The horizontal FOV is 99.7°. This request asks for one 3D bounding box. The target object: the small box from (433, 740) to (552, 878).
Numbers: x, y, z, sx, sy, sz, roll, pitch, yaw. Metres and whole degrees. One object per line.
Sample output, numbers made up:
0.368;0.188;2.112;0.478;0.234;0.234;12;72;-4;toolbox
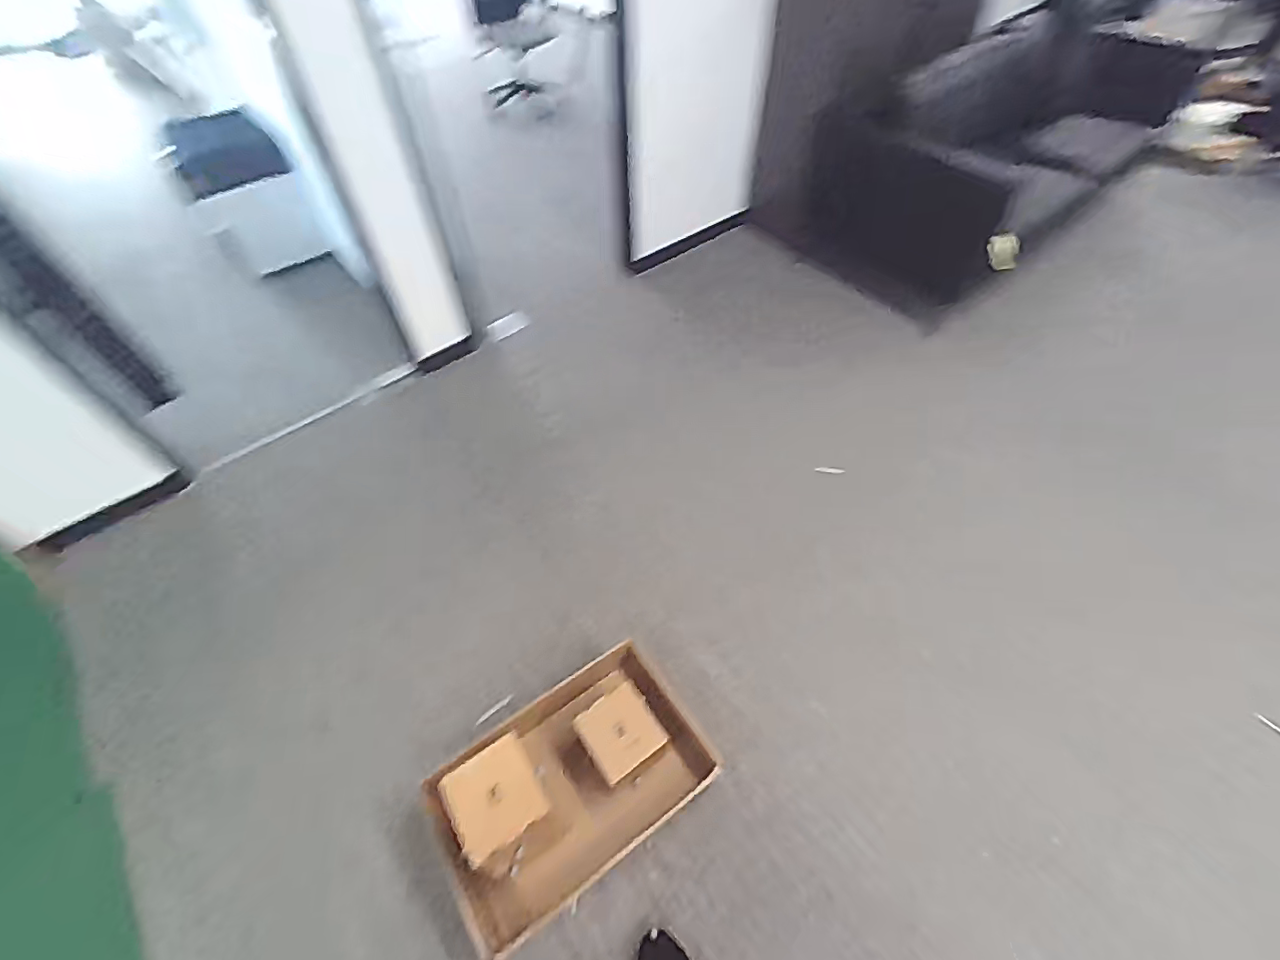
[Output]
-0.298;0.683;1.117;0.168;0.176;0.179;-29;56;-21;small box
